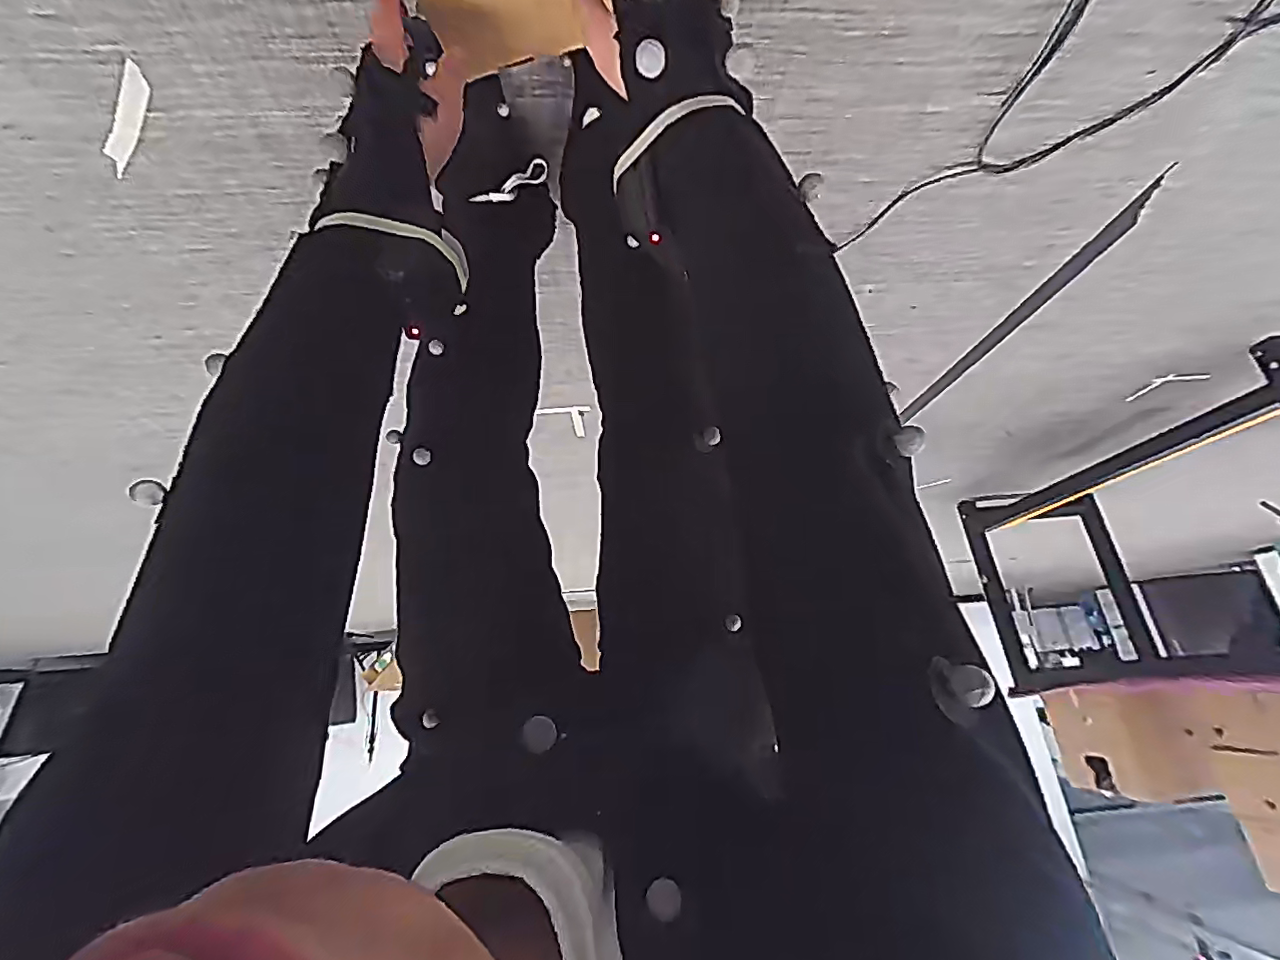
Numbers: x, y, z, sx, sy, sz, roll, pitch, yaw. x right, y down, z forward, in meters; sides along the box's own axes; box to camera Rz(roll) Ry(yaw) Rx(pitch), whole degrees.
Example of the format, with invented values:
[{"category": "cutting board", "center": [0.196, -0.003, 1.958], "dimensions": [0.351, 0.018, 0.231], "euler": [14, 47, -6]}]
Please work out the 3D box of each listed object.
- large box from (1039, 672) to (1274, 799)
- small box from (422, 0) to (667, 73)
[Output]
[{"category": "large box", "center": [1.651, 0.821, 1.773], "dimensions": [0.408, 0.320, 0.320], "euler": [-5, 160, -5]}, {"category": "small box", "center": [-0.086, -0.427, 0.348], "dimensions": [0.168, 0.176, 0.179], "euler": [-10, 159, 12]}]
